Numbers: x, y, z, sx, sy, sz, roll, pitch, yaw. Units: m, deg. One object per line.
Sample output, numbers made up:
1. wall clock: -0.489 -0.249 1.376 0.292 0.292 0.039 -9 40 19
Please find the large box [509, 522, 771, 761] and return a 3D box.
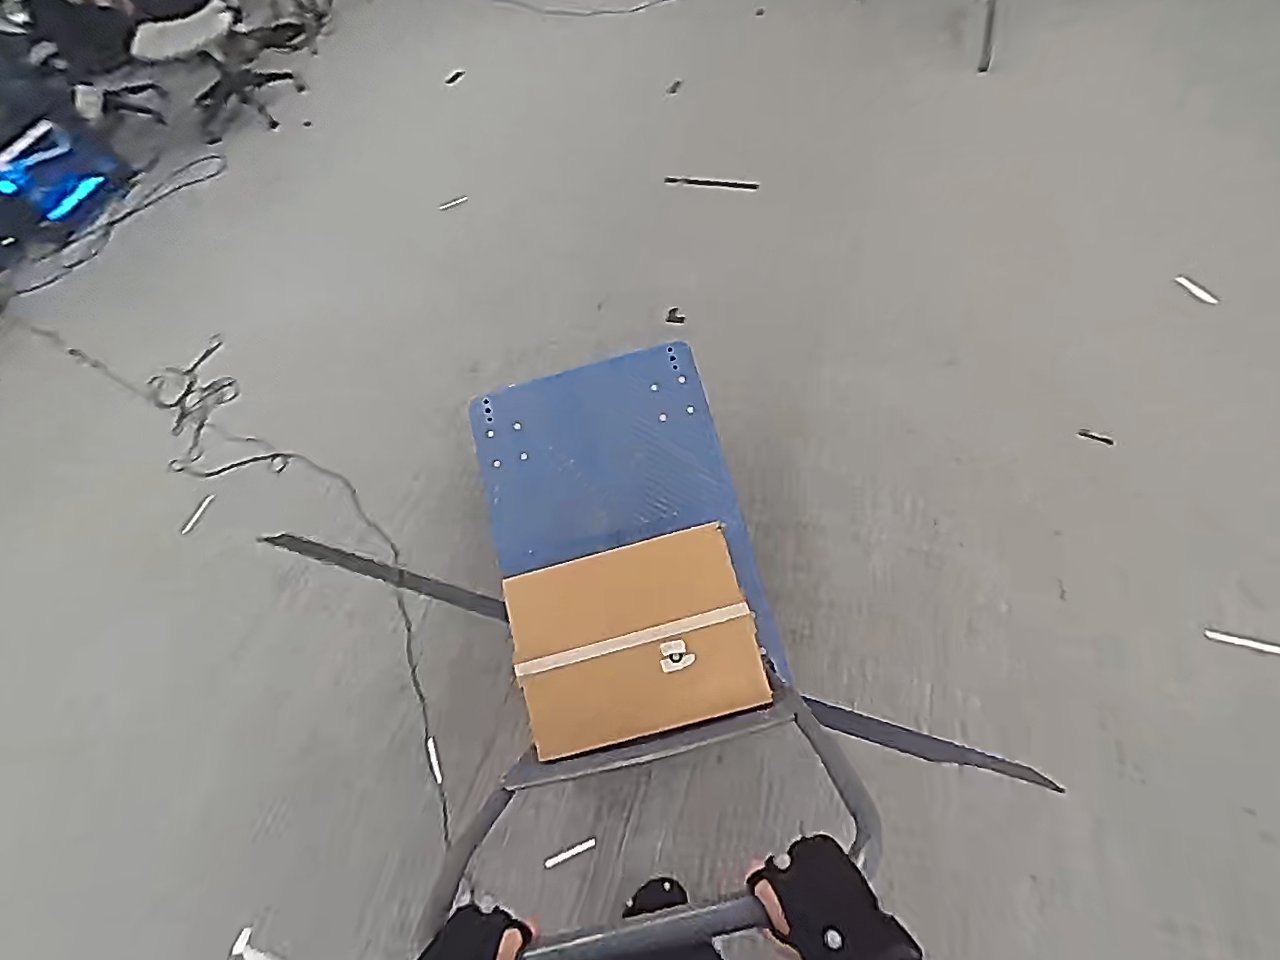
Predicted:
1. large box: 0.002 0.308 1.089 0.408 0.320 0.320 -17 78 1
